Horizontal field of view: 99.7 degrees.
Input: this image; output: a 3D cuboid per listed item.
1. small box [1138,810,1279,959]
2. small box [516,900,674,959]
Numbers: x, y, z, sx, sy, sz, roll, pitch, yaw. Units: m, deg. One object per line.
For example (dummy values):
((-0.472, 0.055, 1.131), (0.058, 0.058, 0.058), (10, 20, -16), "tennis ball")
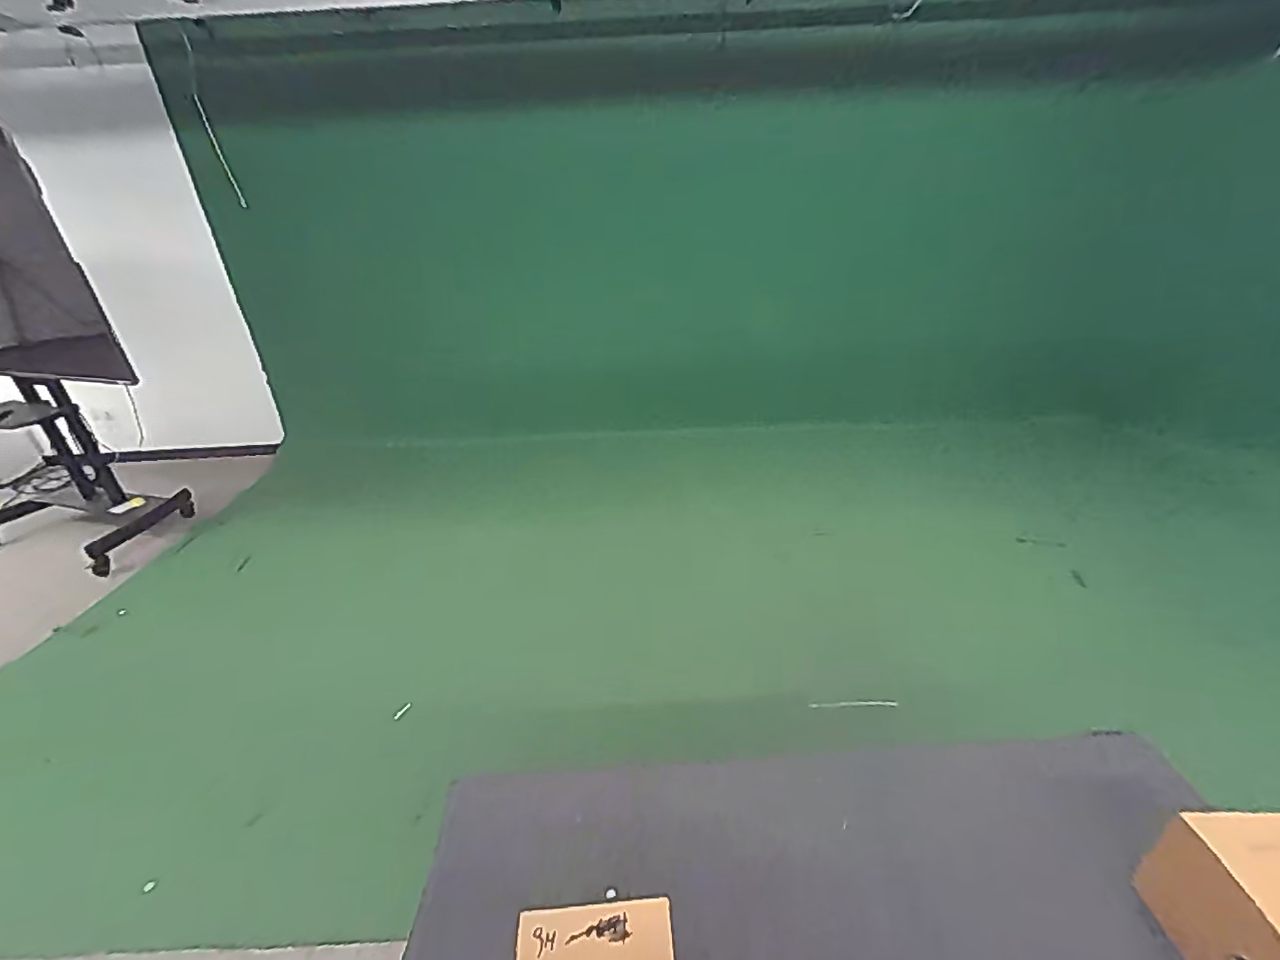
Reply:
((0.764, 0.529, 0.642), (0.168, 0.176, 0.179), (-1, 26, 2), "small box")
((-0.041, 0.578, 0.584), (0.168, 0.176, 0.179), (-4, 47, -3), "small box")
